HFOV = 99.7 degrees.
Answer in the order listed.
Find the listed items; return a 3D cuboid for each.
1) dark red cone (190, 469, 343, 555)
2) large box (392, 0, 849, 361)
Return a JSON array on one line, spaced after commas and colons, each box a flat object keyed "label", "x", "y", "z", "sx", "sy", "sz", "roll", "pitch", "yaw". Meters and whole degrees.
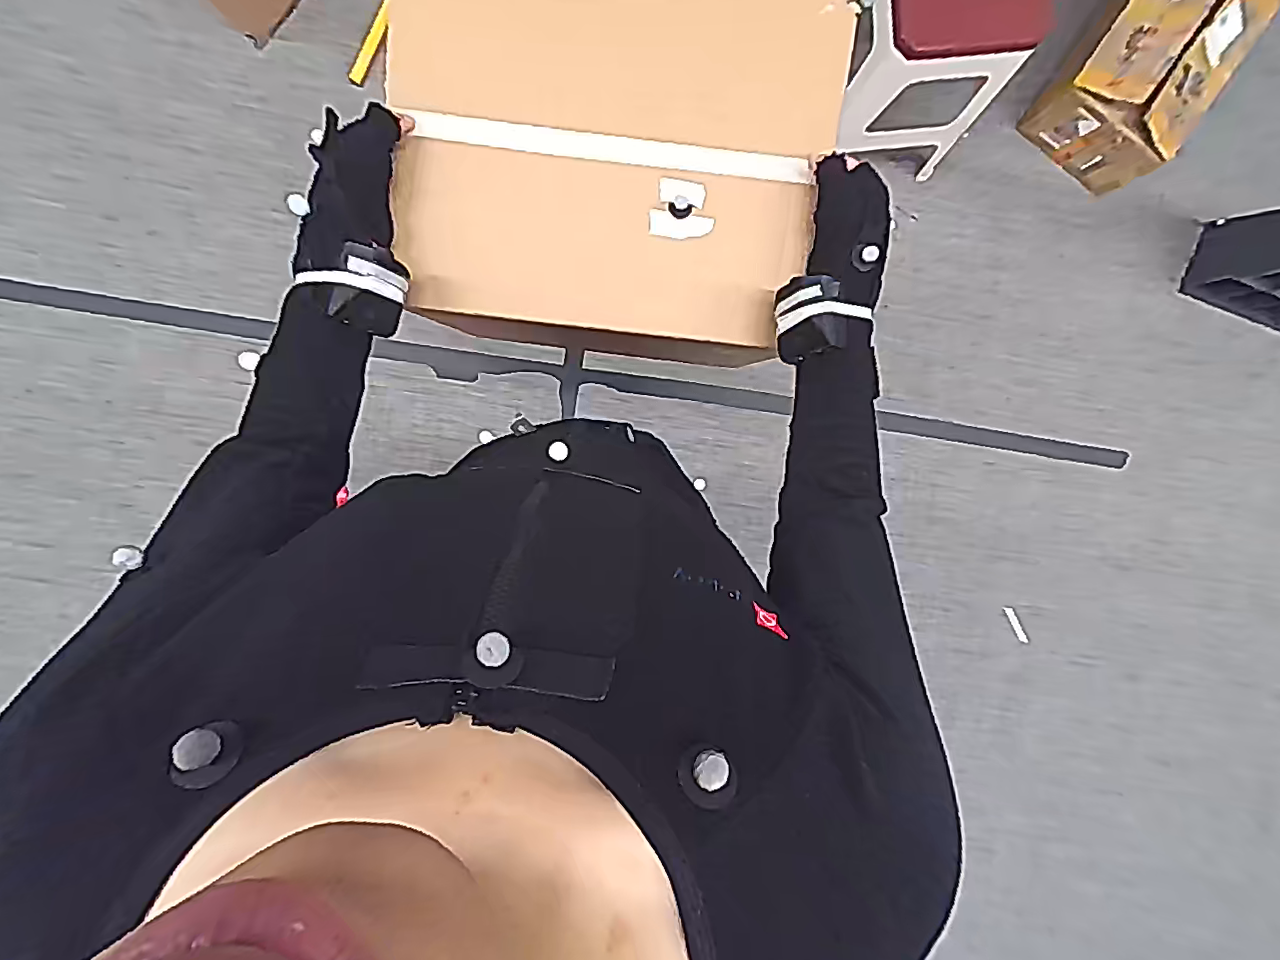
[{"label": "dark red cone", "x": -0.875, "y": 0.100, "z": 1.244, "sx": 0.201, "sy": 0.394, "sz": 0.202, "roll": 15, "pitch": 96, "yaw": -5}, {"label": "large box", "x": -0.029, "y": -0.325, "z": 0.641, "sx": 0.408, "sy": 0.320, "sz": 0.320, "roll": 6, "pitch": 99, "yaw": -3}]
